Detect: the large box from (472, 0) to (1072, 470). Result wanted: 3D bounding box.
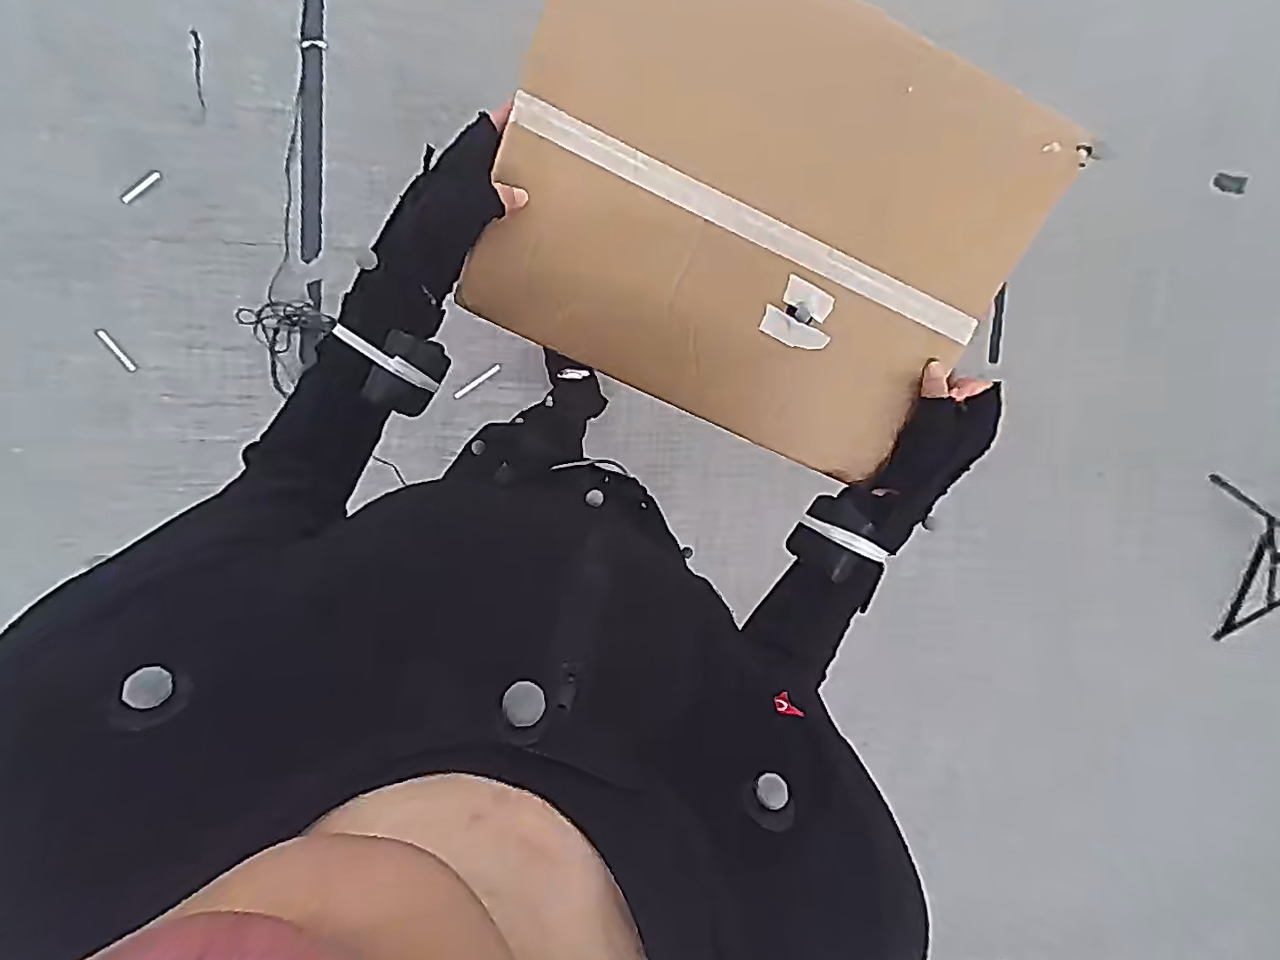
[{"bbox_3d":[0.095,-0.263,0.581,0.408,0.320,0.320,24,110,-7],"label":"large box"}]
